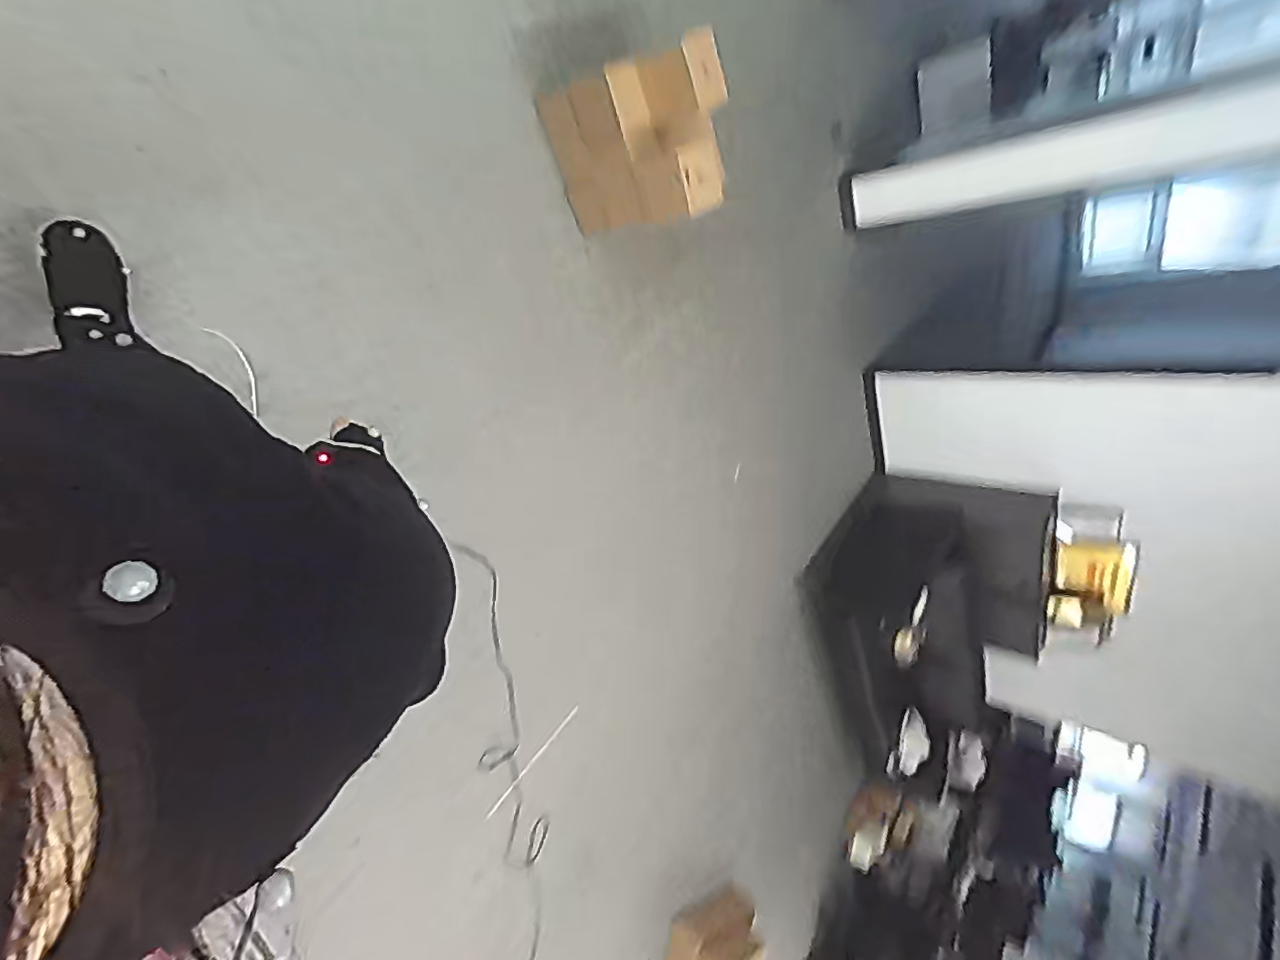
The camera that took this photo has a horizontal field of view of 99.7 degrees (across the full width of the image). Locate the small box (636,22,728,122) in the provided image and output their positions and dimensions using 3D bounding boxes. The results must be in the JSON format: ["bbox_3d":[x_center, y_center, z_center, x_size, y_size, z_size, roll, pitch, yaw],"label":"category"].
[{"bbox_3d":[0.119,-1.151,1.539,0.168,0.176,0.179,-48,128,-32],"label":"small box"}]

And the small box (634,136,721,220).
[{"bbox_3d":[0.111,-0.881,1.582,0.179,0.176,0.168,-42,127,-35],"label":"small box"}]
